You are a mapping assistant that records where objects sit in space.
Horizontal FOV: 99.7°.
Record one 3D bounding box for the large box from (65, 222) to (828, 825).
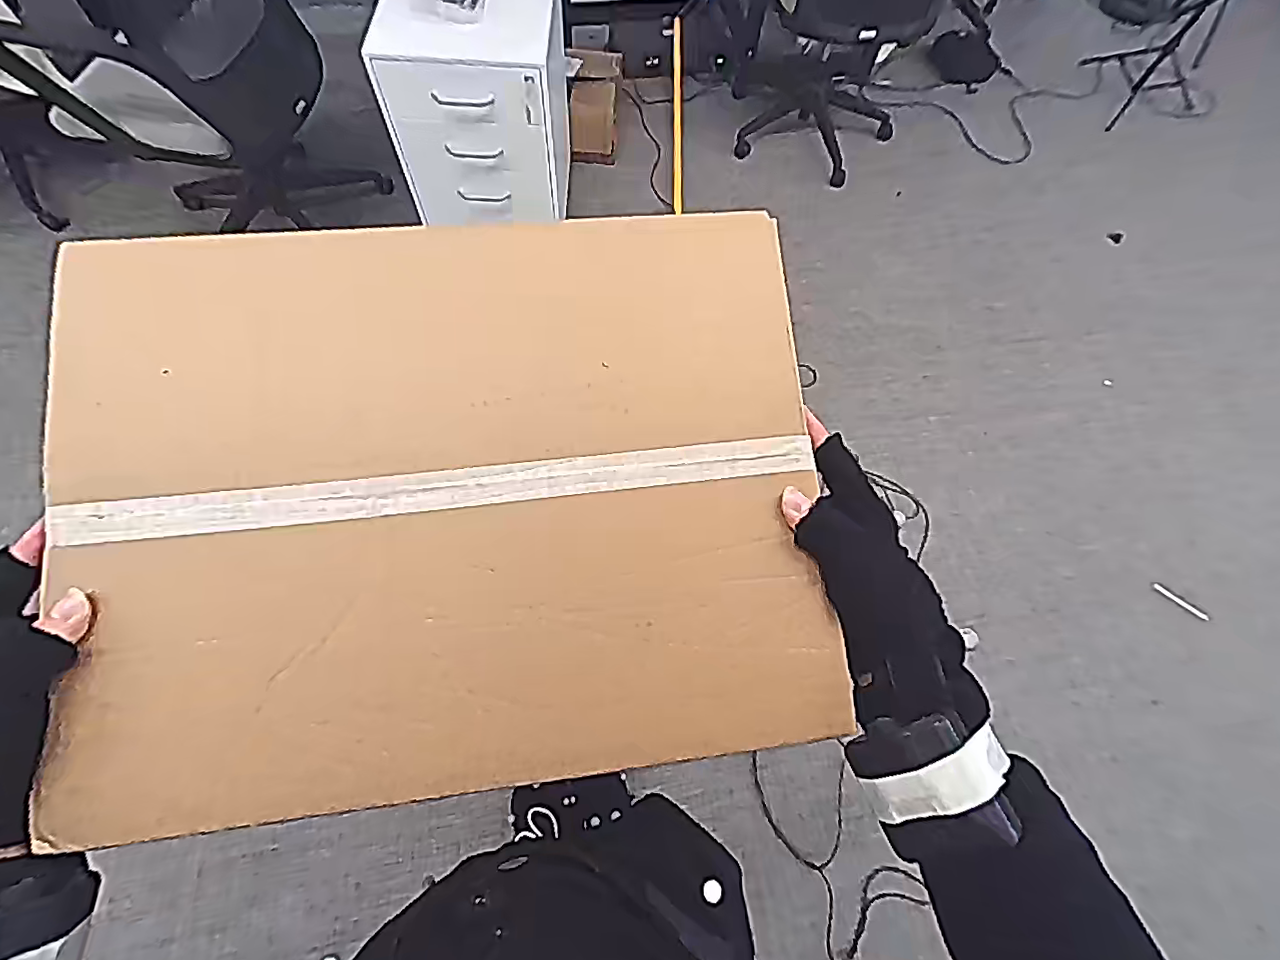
[{"bbox_3d":[-0.115,0.023,0.455,0.408,0.320,0.320,-5,81,-6],"label":"large box"}]
